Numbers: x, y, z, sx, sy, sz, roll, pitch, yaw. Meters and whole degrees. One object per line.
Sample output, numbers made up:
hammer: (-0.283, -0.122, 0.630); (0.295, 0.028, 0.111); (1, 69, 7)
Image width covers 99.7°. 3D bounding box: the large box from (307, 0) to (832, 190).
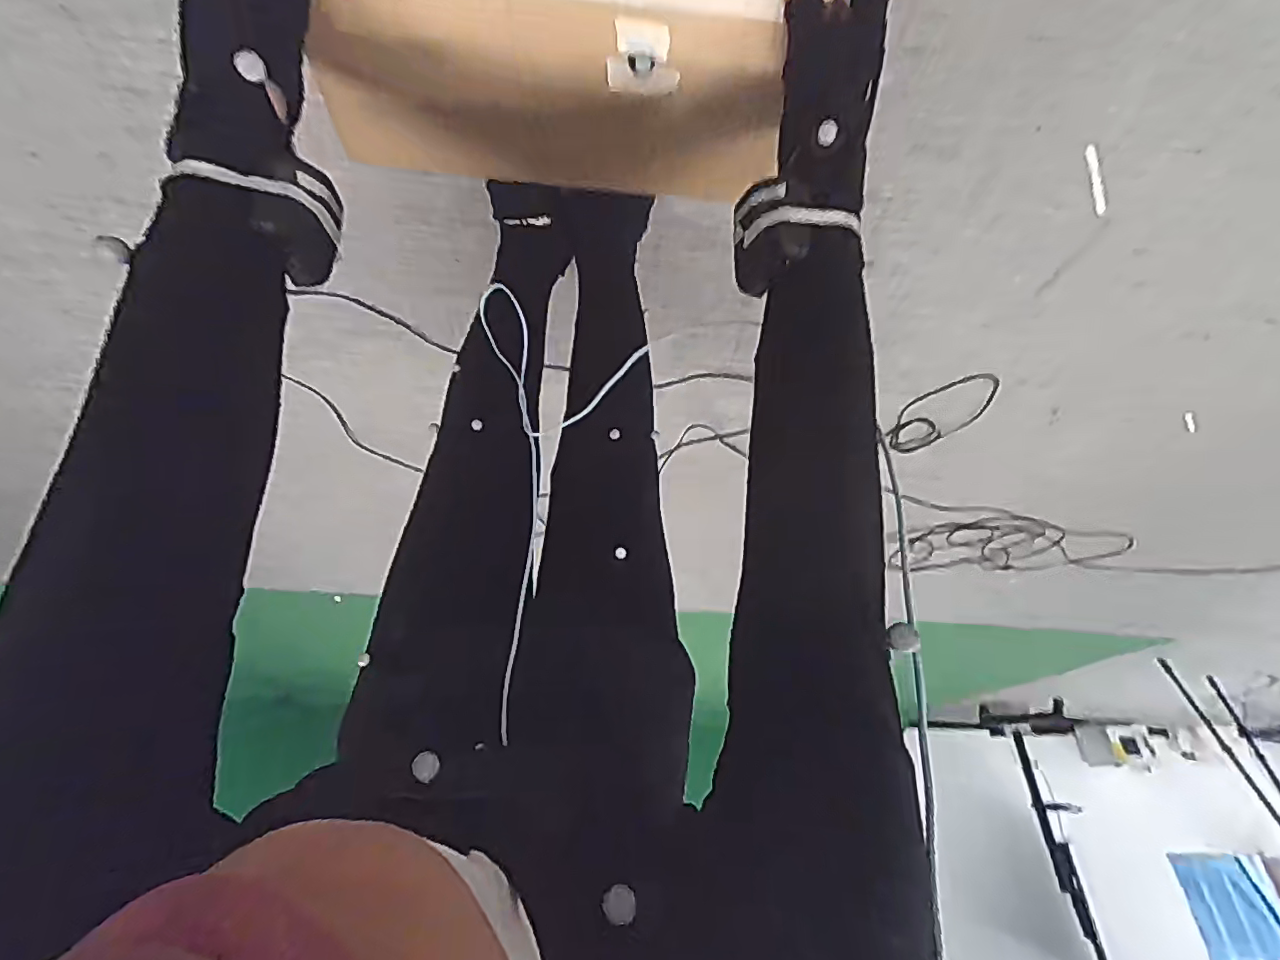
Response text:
large box: (-0.050, -0.500, 0.468); (0.408, 0.320, 0.320); (4, 148, -3)
